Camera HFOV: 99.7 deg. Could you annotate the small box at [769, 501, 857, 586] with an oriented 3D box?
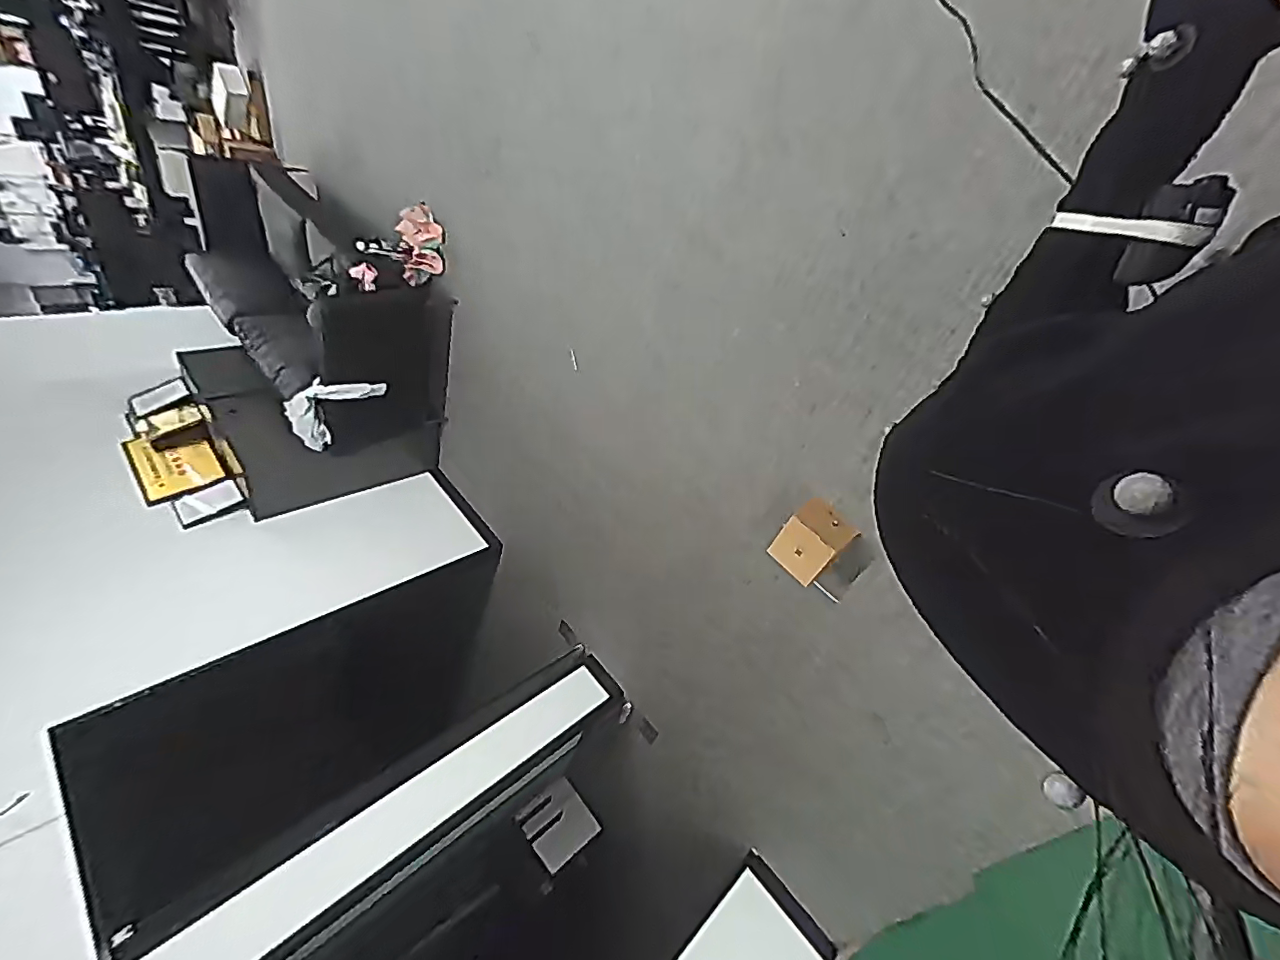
[{"bbox_3d":[0.548,0.195,1.700,0.168,0.176,0.179,45,133,24],"label":"small box"}]
